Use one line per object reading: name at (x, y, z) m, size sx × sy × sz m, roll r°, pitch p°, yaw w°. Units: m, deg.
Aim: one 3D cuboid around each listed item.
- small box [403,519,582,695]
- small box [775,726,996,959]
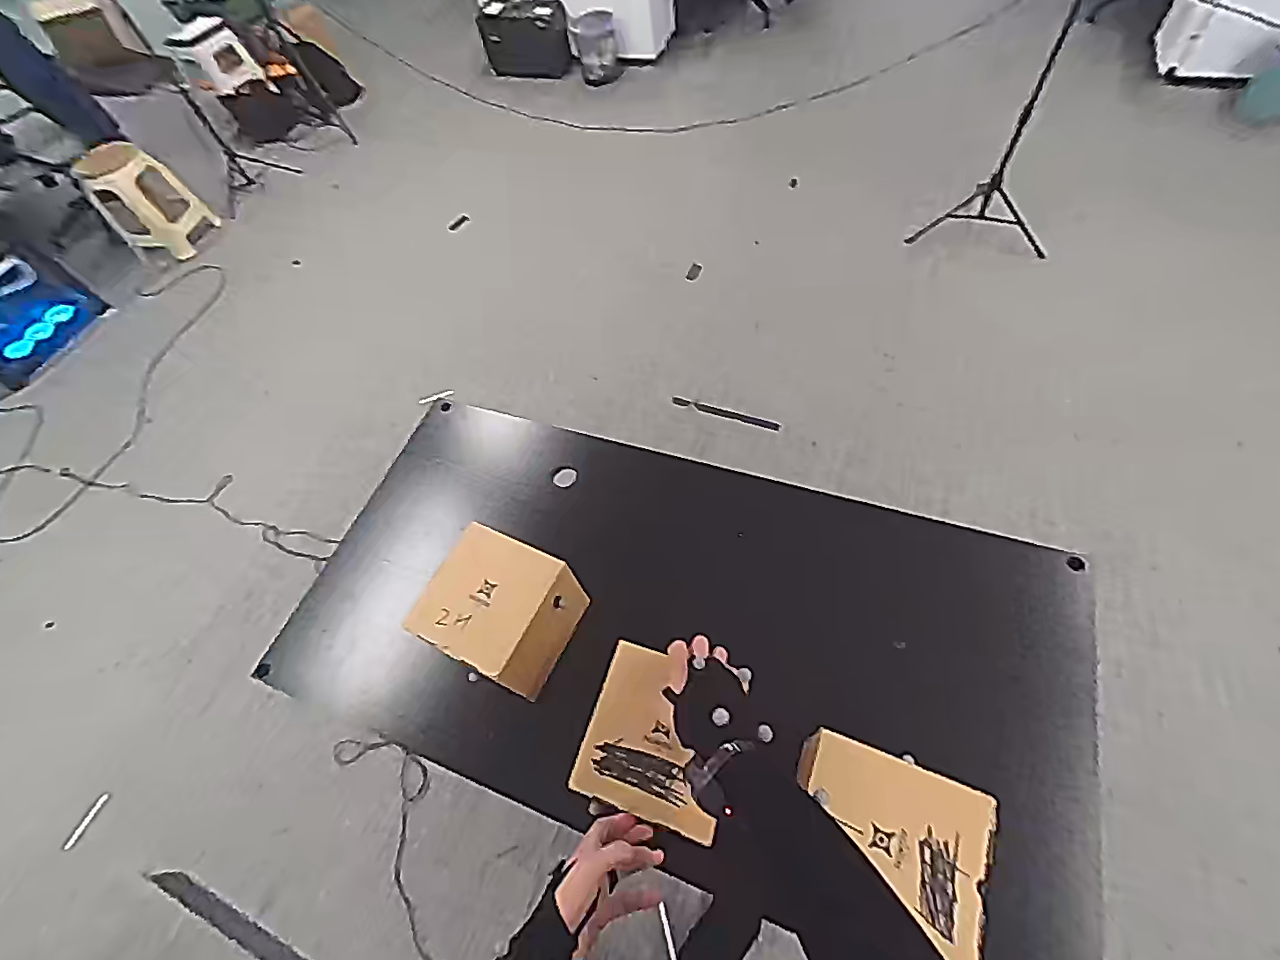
small box at (-0.201, 0.192, 0.802) m, size 0.168 × 0.176 × 0.179 m, roll 20°, pitch 65°, yaw 20°
small box at (0.262, 0.400, 0.607) m, size 0.179 × 0.176 × 0.168 m, roll 16°, pitch 63°, yaw 19°
